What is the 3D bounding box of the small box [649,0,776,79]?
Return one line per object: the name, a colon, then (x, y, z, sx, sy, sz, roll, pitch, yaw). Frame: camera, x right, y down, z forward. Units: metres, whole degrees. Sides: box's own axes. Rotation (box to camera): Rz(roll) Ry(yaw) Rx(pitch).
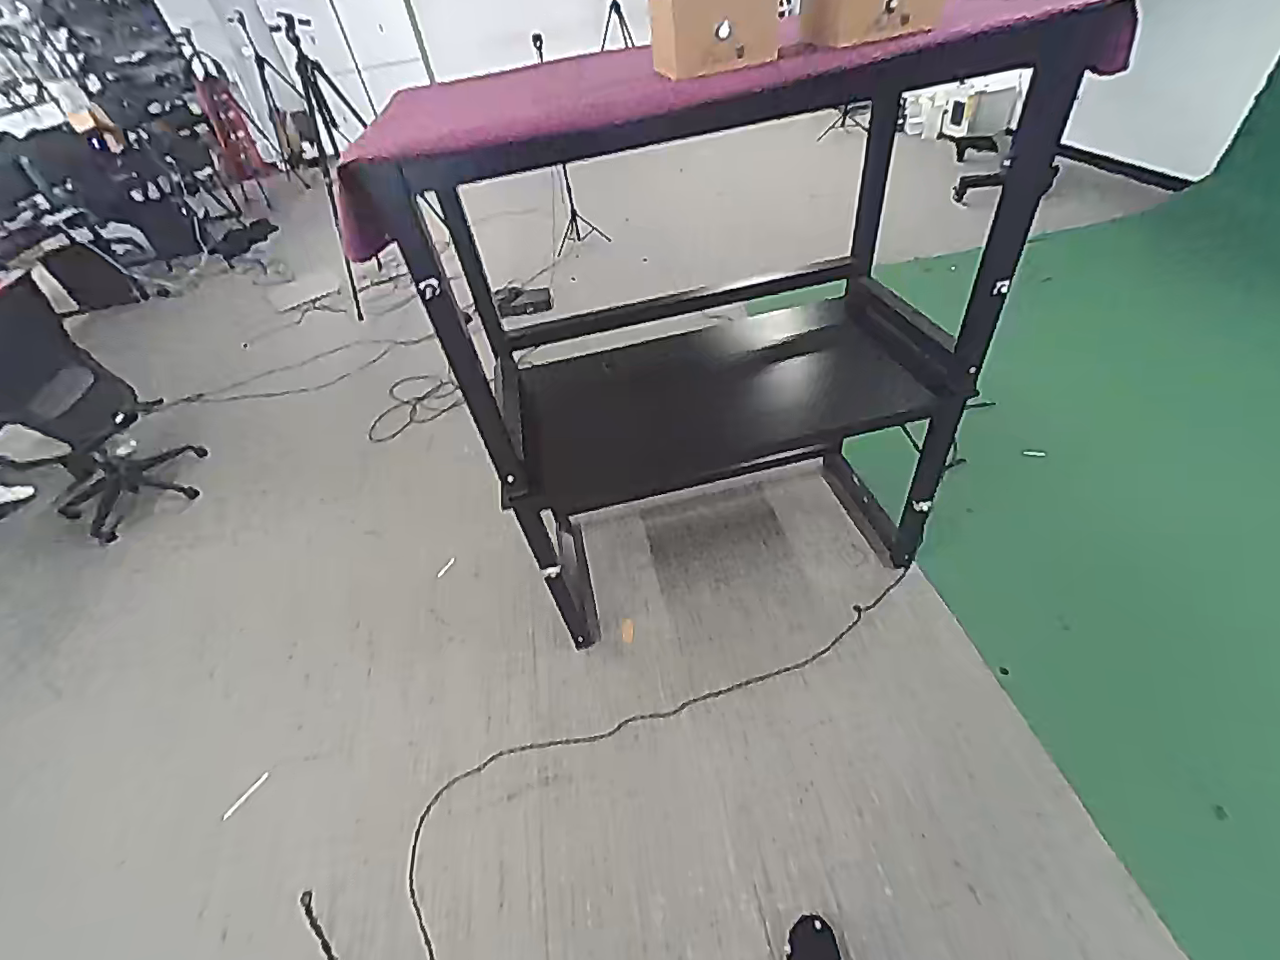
small box: (0.107, -0.750, 0.850, 0.168, 0.176, 0.179, -13, 43, -2)
